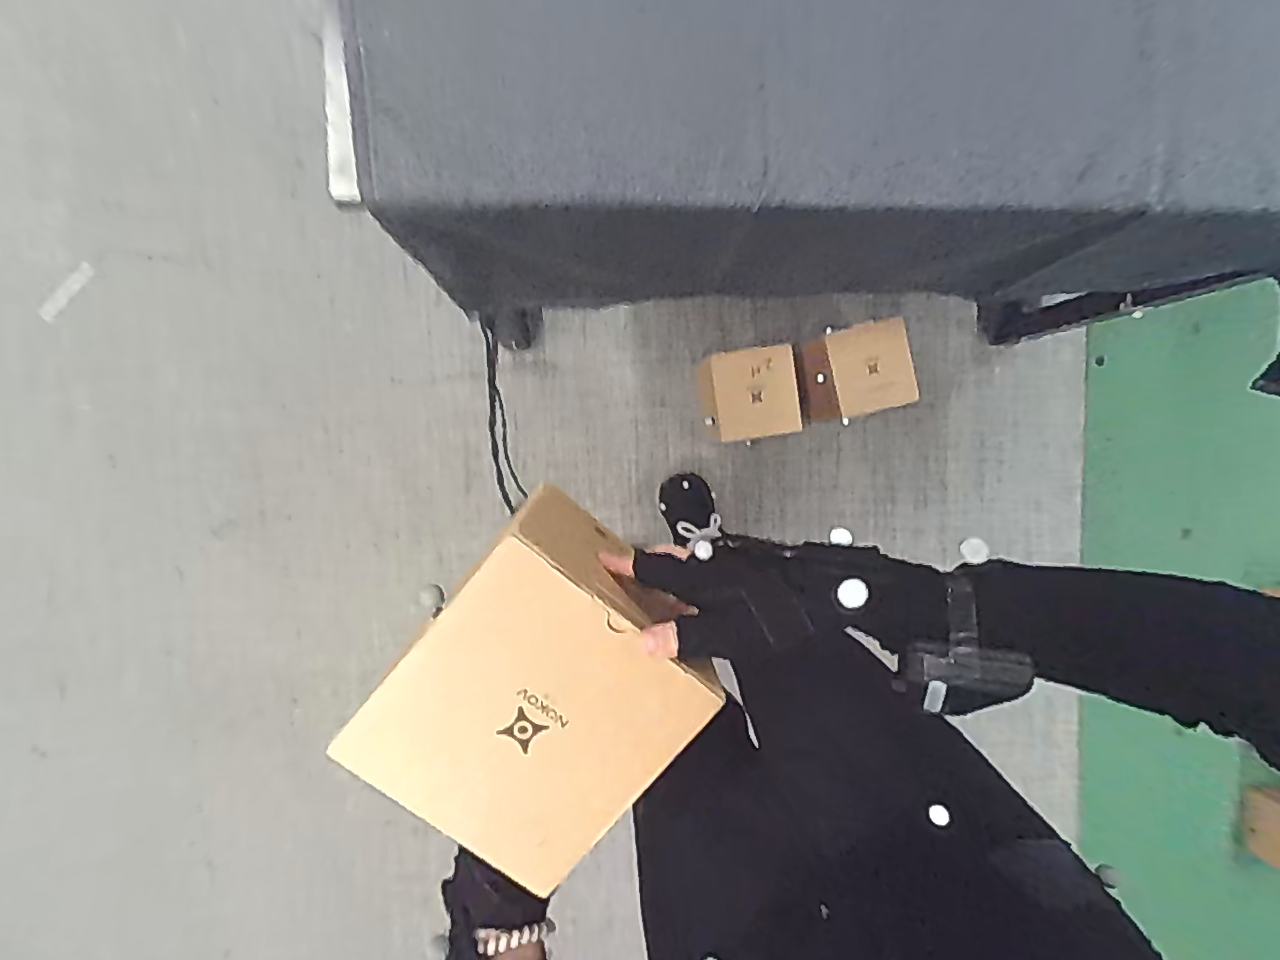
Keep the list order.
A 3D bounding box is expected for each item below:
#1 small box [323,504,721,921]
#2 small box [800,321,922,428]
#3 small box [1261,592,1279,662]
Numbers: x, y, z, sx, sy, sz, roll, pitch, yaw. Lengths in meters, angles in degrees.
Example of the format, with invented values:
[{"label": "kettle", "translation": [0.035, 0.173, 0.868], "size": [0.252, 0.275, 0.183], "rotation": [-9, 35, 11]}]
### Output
[{"label": "small box", "translation": [-0.070, 0.142, 0.391], "size": [0.168, 0.176, 0.179], "rotation": [41, 94, -8]}, {"label": "small box", "translation": [0.456, -0.216, 1.143], "size": [0.168, 0.176, 0.179], "rotation": [-14, 93, -4]}, {"label": "small box", "translation": [1.628, 0.361, 1.267], "size": [0.179, 0.176, 0.168], "rotation": [-3, 93, -3]}]
